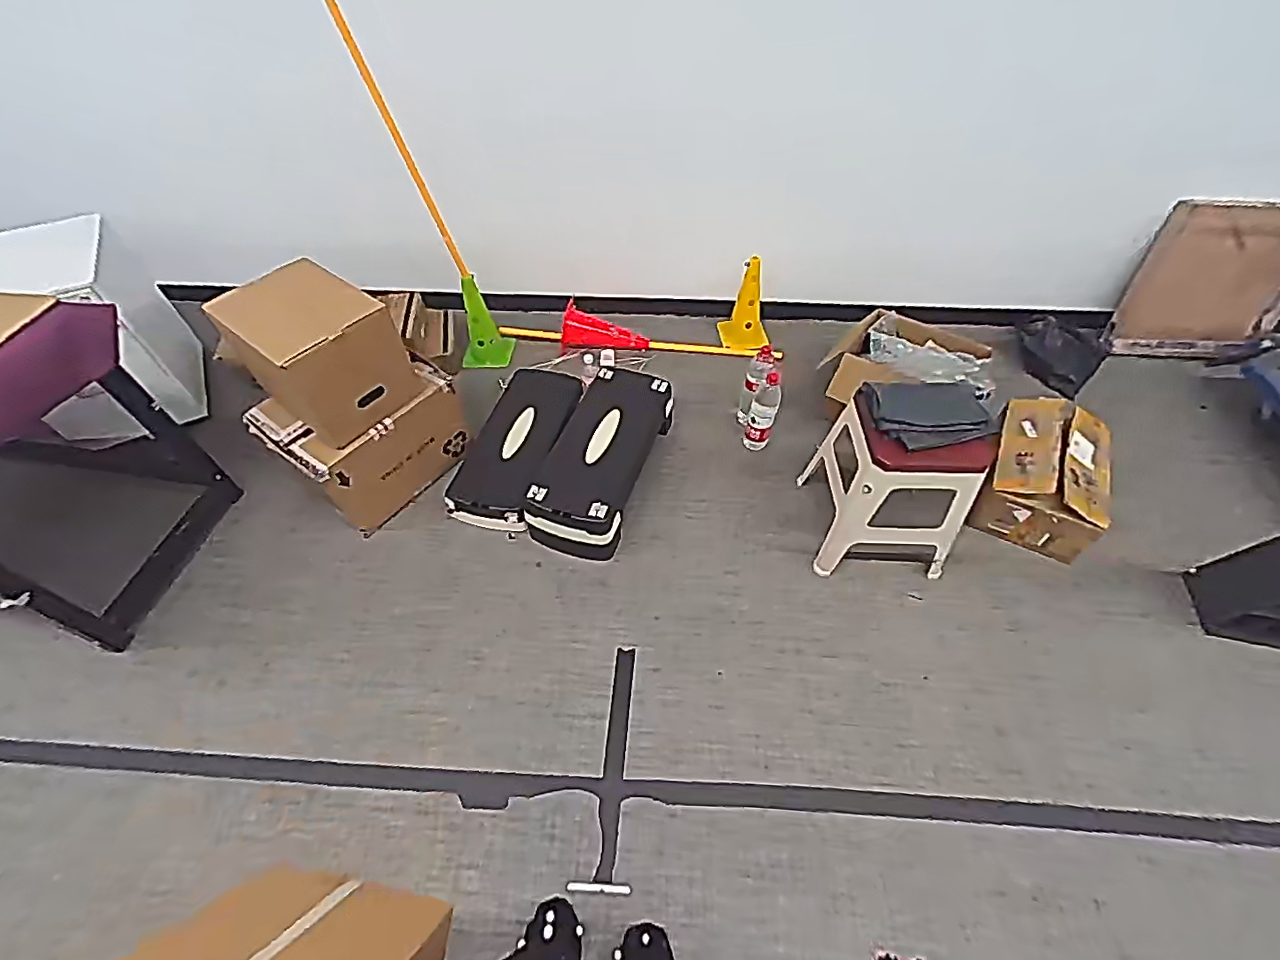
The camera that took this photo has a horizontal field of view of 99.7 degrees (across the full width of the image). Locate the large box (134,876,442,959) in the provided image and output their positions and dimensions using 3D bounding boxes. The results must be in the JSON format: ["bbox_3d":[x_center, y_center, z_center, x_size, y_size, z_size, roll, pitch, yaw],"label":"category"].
[{"bbox_3d":[-0.484,0.745,0.615,0.320,0.408,0.320,5,78,8],"label":"large box"}]
